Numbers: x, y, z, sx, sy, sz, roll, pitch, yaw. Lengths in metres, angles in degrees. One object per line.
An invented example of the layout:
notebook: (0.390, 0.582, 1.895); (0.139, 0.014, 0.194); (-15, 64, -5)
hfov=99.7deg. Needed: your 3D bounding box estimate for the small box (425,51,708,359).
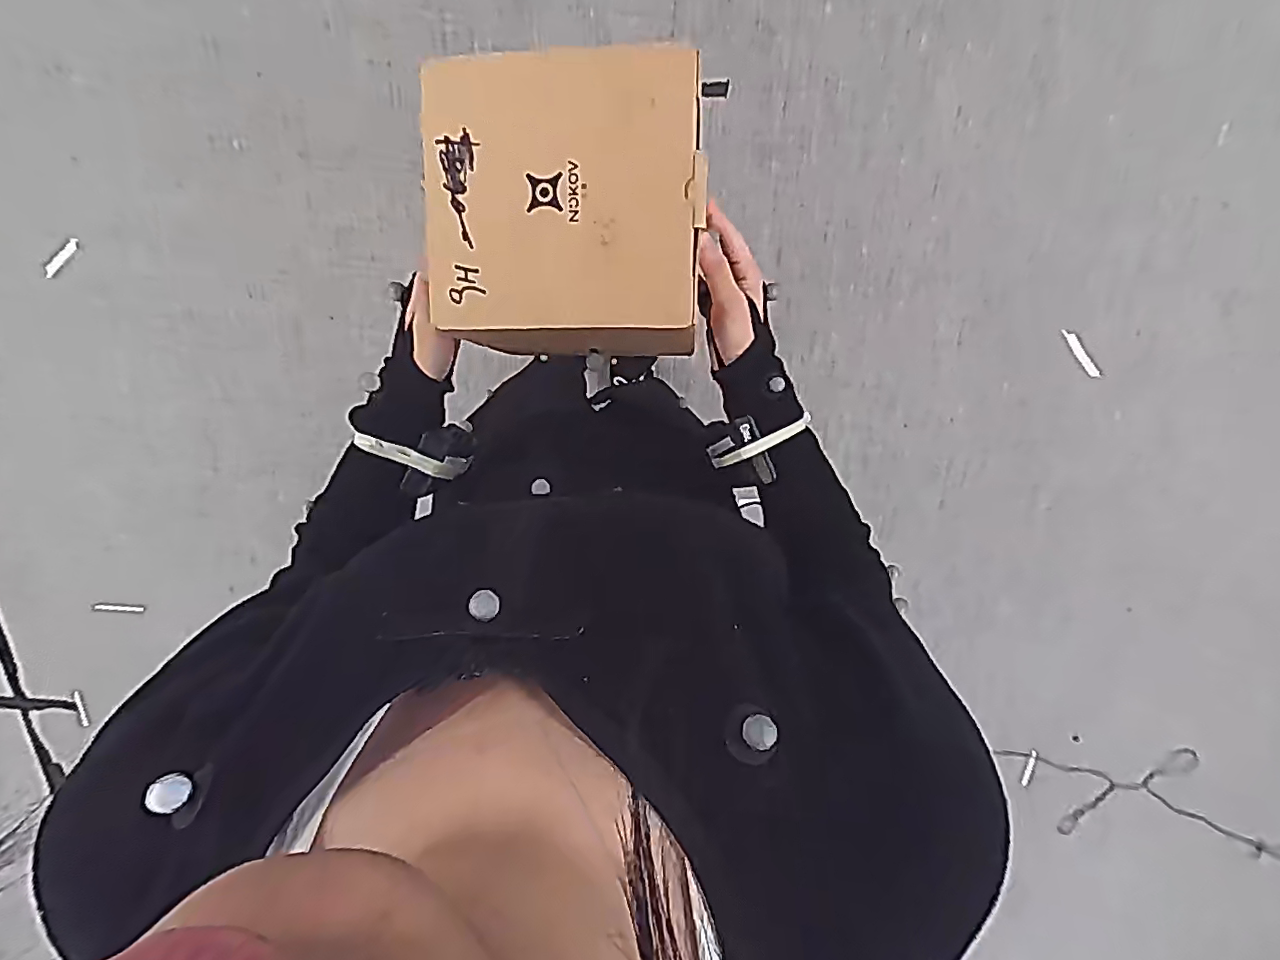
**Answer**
small box: (-0.043, -0.186, 0.416); (0.179, 0.176, 0.168); (2, 97, 4)
